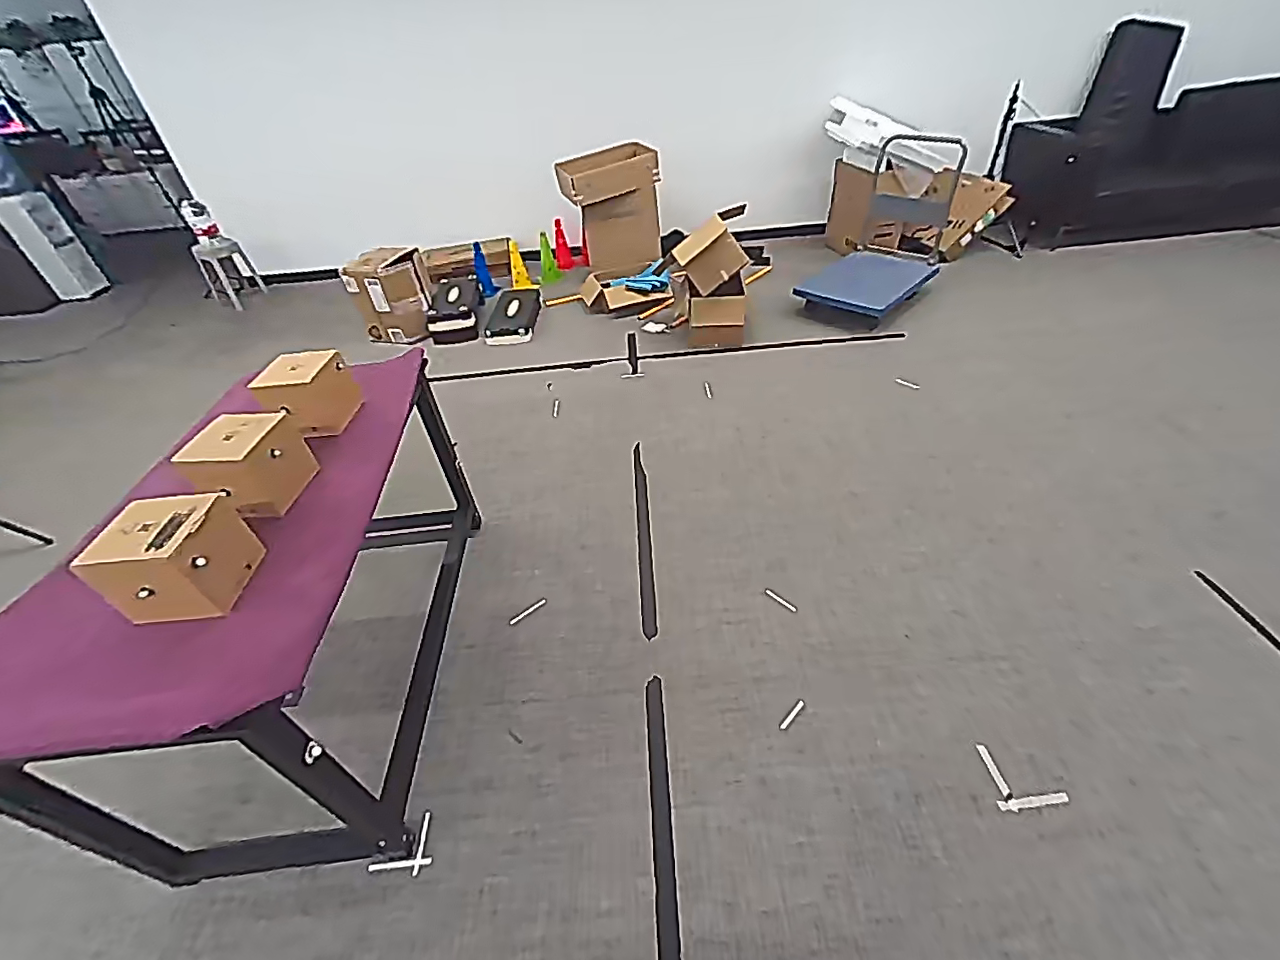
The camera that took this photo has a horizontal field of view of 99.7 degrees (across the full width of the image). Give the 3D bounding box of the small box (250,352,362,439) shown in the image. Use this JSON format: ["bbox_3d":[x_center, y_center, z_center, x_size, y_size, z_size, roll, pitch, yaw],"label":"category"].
[{"bbox_3d":[-0.885,-0.222,1.456,0.168,0.176,0.179,-5,40,3],"label":"small box"}]

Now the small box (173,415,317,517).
[{"bbox_3d":[-0.879,-0.029,1.227,0.168,0.176,0.179,-1,40,5],"label":"small box"}]
